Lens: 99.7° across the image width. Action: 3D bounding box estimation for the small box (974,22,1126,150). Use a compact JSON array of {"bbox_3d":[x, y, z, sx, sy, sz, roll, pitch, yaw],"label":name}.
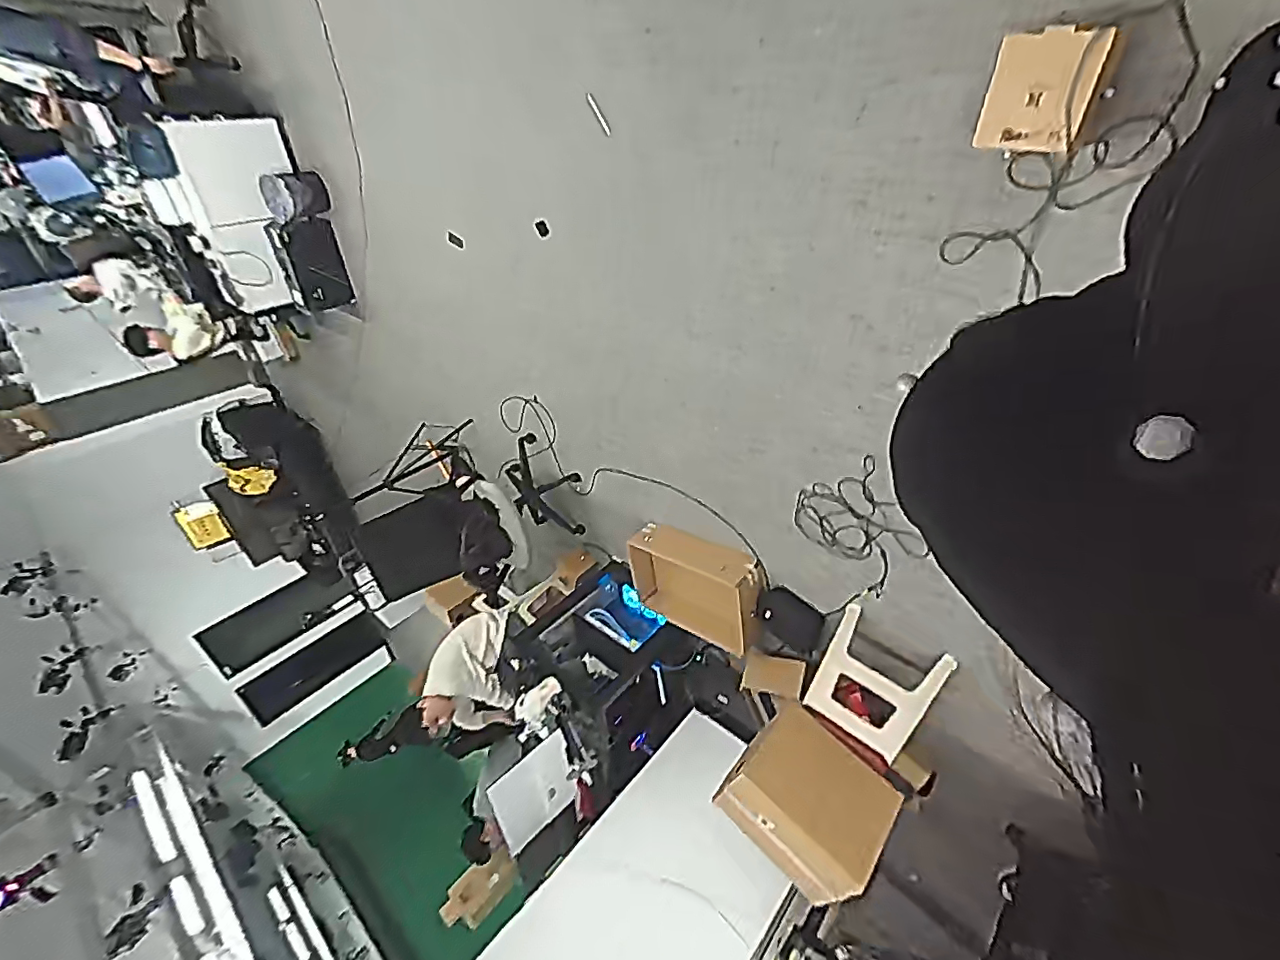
[{"bbox_3d":[0.756,-0.720,0.999,0.168,0.176,0.179,28,133,33],"label":"small box"}]
